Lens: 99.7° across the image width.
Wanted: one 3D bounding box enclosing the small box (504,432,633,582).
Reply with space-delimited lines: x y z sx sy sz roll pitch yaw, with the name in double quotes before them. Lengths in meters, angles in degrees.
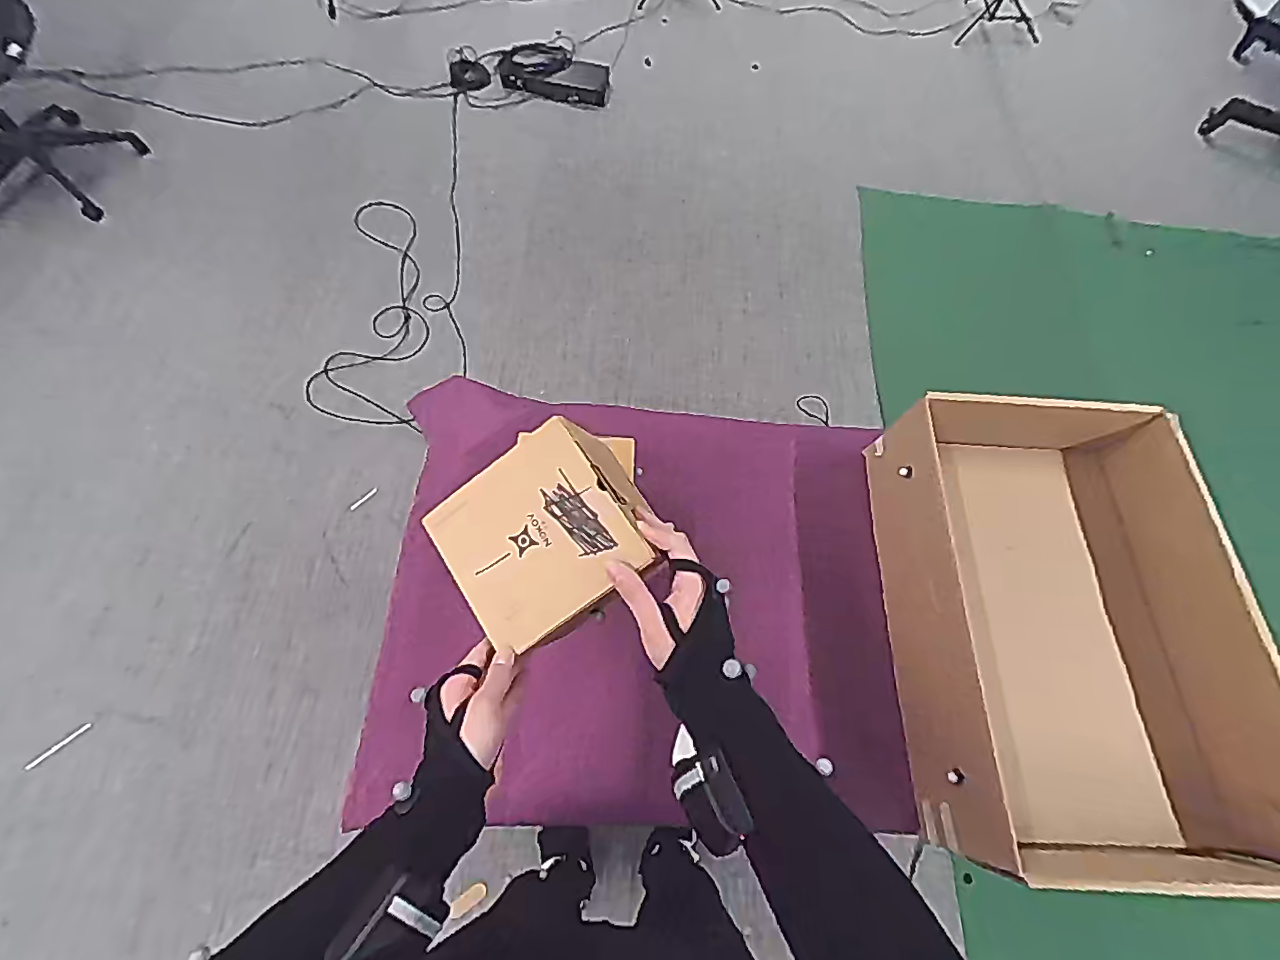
"small box" -0.097 0.048 0.805 0.168 0.176 0.179 3 64 -3
